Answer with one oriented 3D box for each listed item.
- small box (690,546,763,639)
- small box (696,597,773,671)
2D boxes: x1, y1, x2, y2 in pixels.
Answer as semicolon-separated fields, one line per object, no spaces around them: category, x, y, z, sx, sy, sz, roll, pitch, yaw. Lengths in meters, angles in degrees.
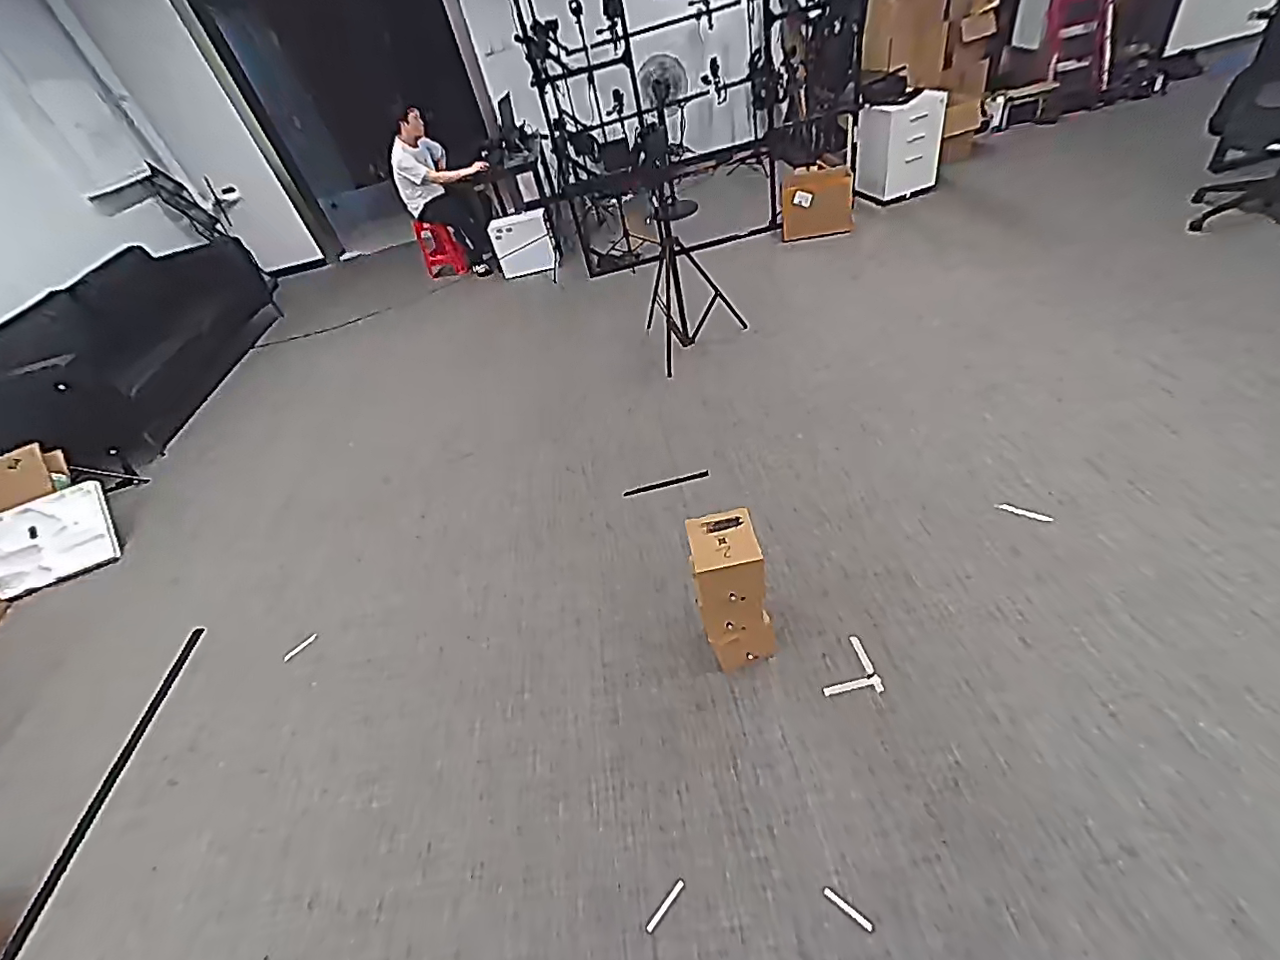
small box;0.241;0.315;1.515;0.168;0.176;0.179;-13;42;3
small box;0.282;0.435;1.617;0.168;0.176;0.179;-21;42;-5
